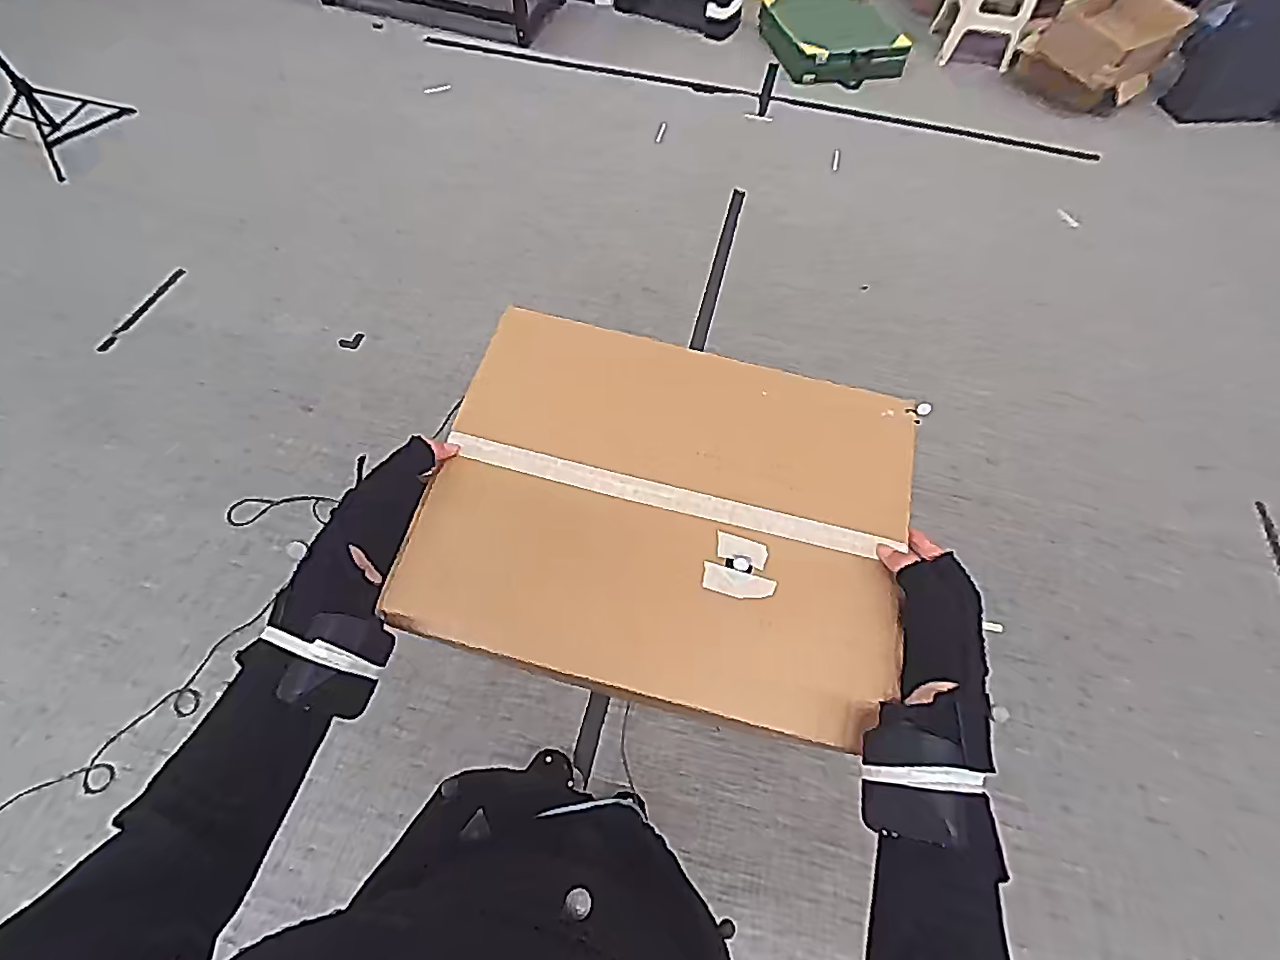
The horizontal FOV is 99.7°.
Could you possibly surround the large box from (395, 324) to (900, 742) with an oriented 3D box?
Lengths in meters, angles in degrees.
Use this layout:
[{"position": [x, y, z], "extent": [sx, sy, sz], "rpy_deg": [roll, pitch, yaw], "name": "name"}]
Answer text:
[{"position": [0.019, 0.079, 0.615], "extent": [0.408, 0.320, 0.320], "rpy_deg": [14, 68, 2], "name": "large box"}]
